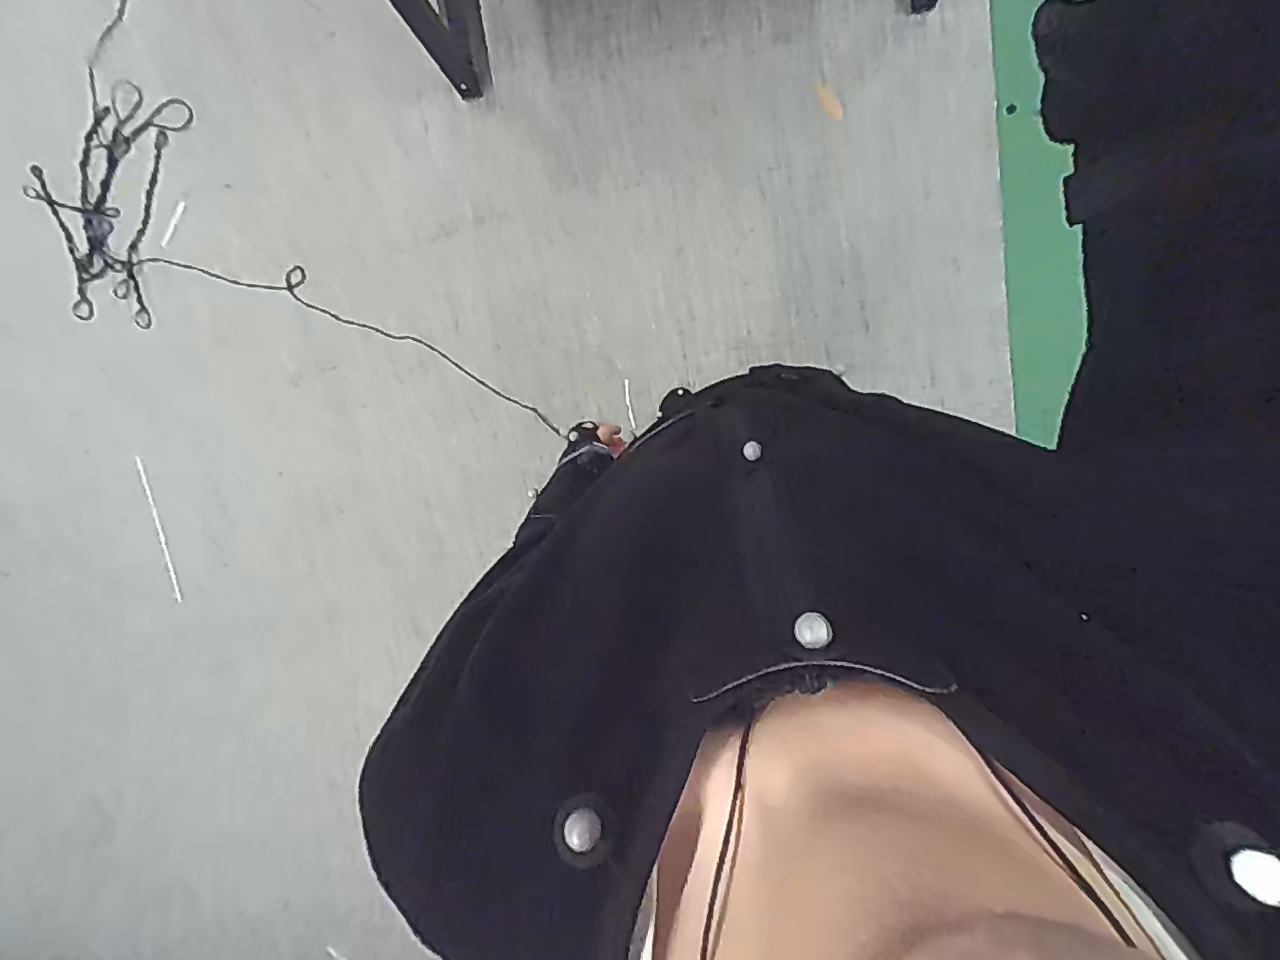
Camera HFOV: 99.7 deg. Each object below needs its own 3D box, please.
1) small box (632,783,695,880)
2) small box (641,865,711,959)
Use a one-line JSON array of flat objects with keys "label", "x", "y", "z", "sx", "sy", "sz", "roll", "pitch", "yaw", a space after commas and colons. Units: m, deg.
[{"label": "small box", "x": 0.070, "y": 0.992, "z": 1.541, "sx": 0.168, "sy": 0.176, "sz": 0.179, "roll": -4, "pitch": 98, "yaw": 6}, {"label": "small box", "x": 0.108, "y": 1.244, "z": 1.568, "sx": 0.179, "sy": 0.176, "sz": 0.168, "roll": 8, "pitch": 98, "yaw": 6}]
